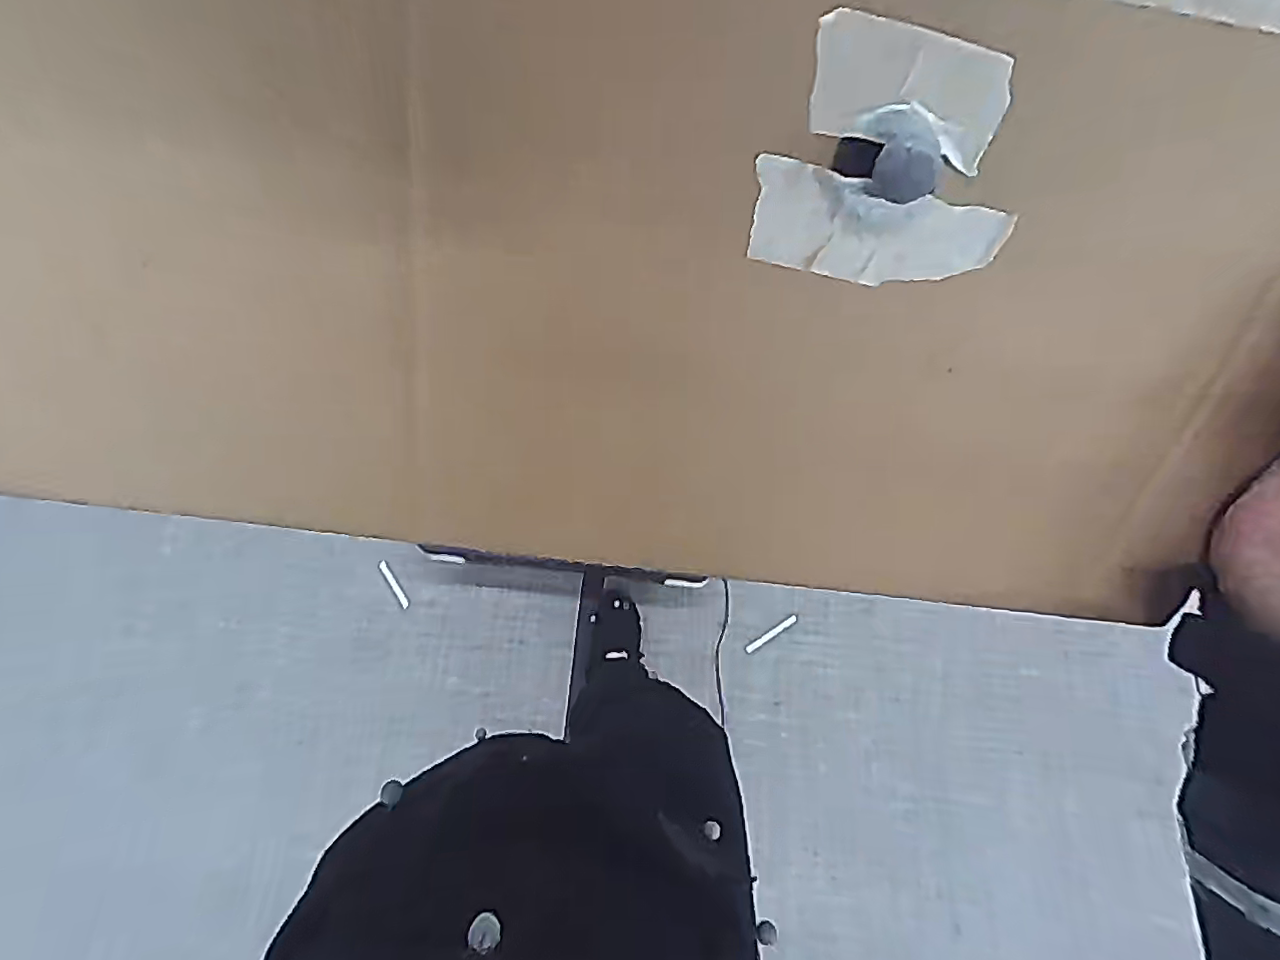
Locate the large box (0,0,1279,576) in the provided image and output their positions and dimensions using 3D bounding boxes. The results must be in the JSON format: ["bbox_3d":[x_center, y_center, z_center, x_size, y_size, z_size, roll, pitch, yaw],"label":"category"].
[{"bbox_3d":[-0.006,-0.185,0.246,0.408,0.320,0.320,7,115,-5],"label":"large box"}]
